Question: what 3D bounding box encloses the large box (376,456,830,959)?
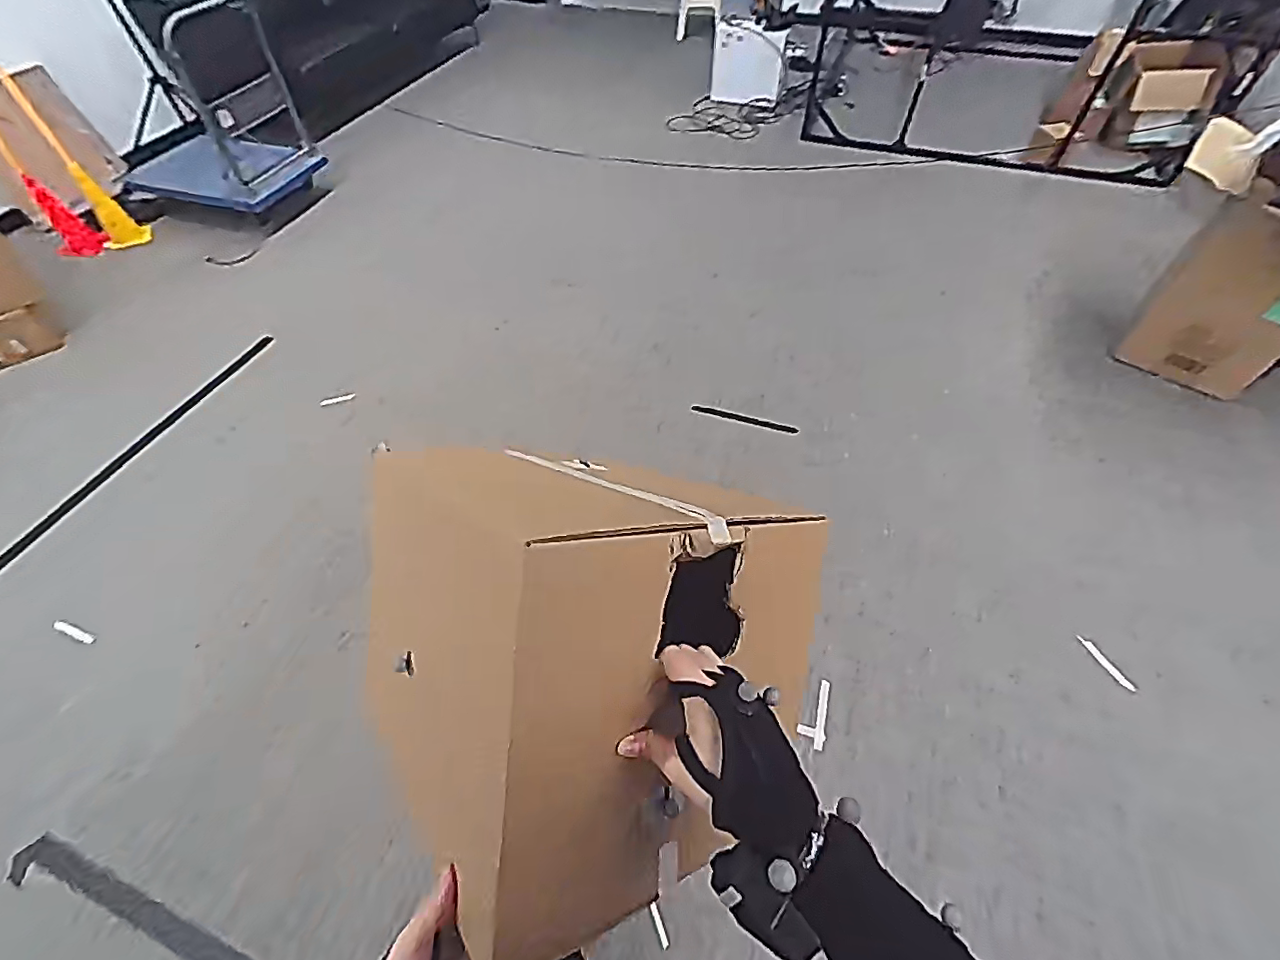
[{"bbox_3d":[-0.072,0.153,0.572,0.320,0.320,0.408,1,8,-37],"label":"large box"}]
